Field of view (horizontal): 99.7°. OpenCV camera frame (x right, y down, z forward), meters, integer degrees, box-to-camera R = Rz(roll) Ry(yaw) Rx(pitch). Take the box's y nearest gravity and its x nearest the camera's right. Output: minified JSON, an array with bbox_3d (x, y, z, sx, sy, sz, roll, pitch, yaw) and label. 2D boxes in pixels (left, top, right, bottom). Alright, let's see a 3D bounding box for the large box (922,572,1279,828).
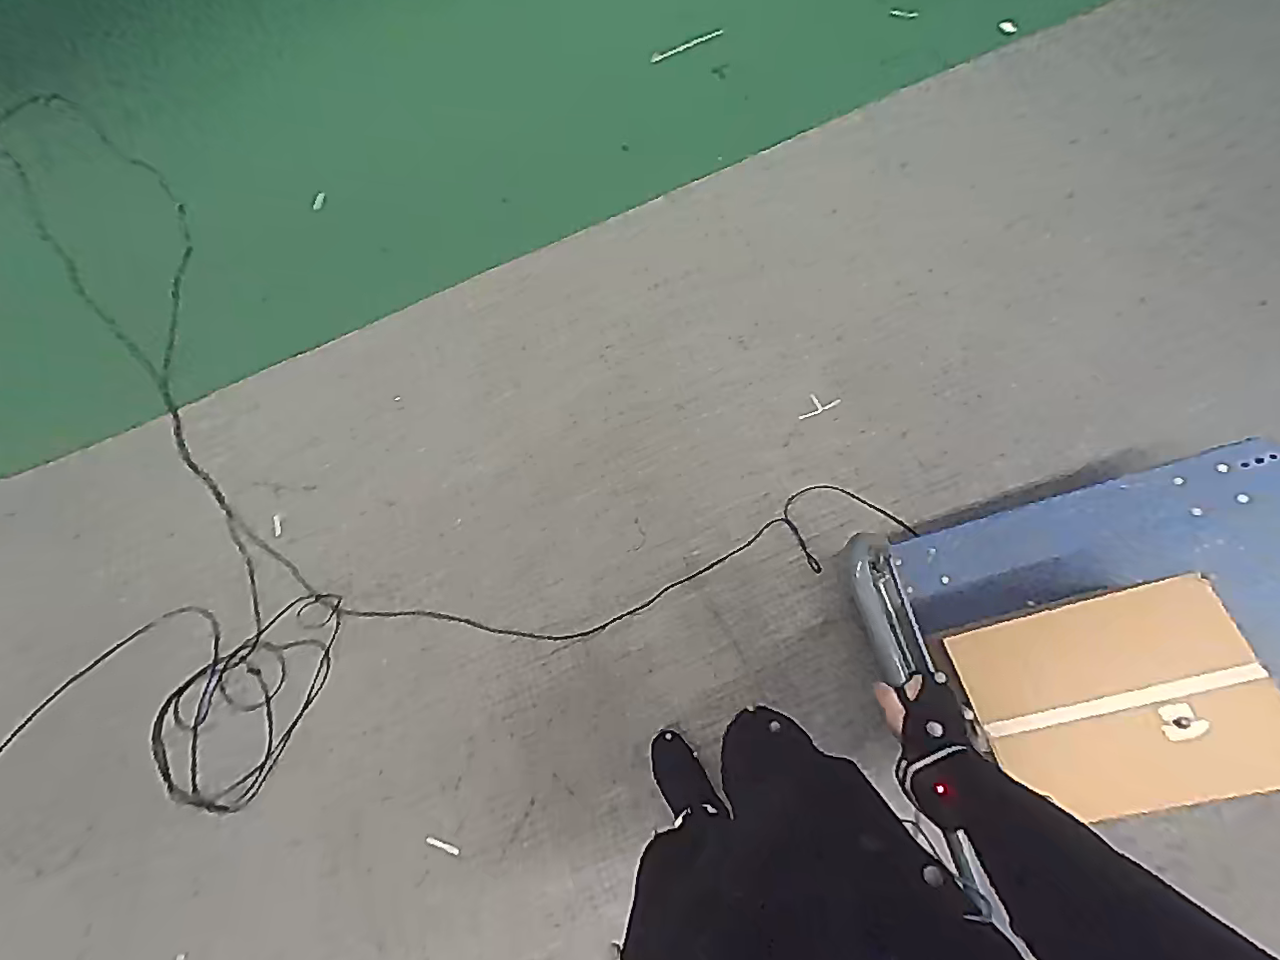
[{"bbox_3d":[0.816,0.399,1.017,0.408,0.320,0.320,-21,69,14],"label":"large box"}]
